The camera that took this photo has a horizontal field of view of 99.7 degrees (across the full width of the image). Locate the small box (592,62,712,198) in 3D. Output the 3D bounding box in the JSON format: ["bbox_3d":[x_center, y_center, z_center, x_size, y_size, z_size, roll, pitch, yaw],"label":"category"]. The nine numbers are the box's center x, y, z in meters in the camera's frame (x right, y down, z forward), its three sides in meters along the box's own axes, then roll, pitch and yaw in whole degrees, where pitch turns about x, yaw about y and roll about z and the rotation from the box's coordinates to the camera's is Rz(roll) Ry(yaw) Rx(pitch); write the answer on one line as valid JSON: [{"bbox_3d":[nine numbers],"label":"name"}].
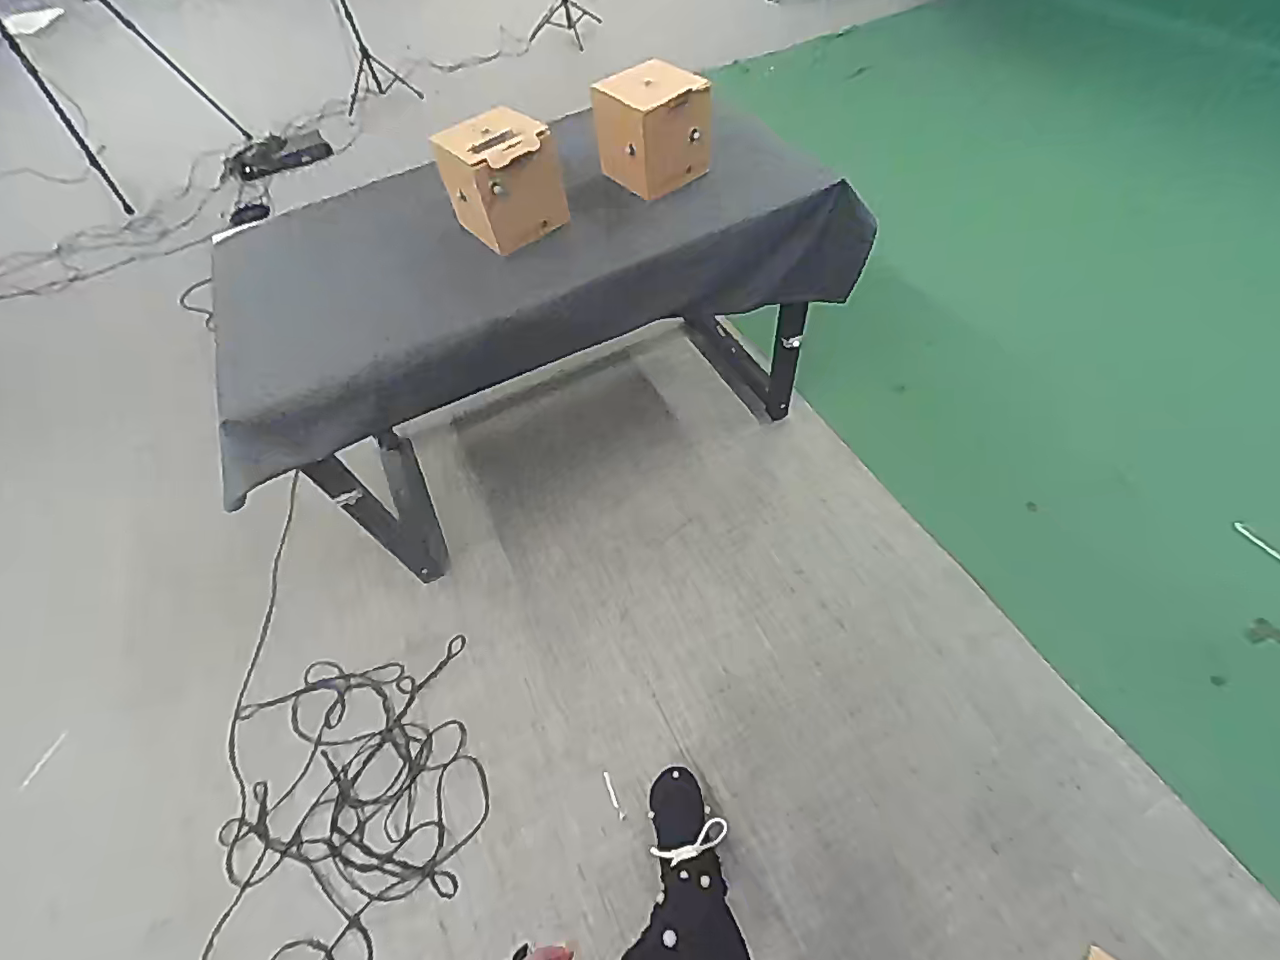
[{"bbox_3d":[0.029,-0.699,1.089,0.168,0.176,0.179,-34,58,-17],"label":"small box"}]
